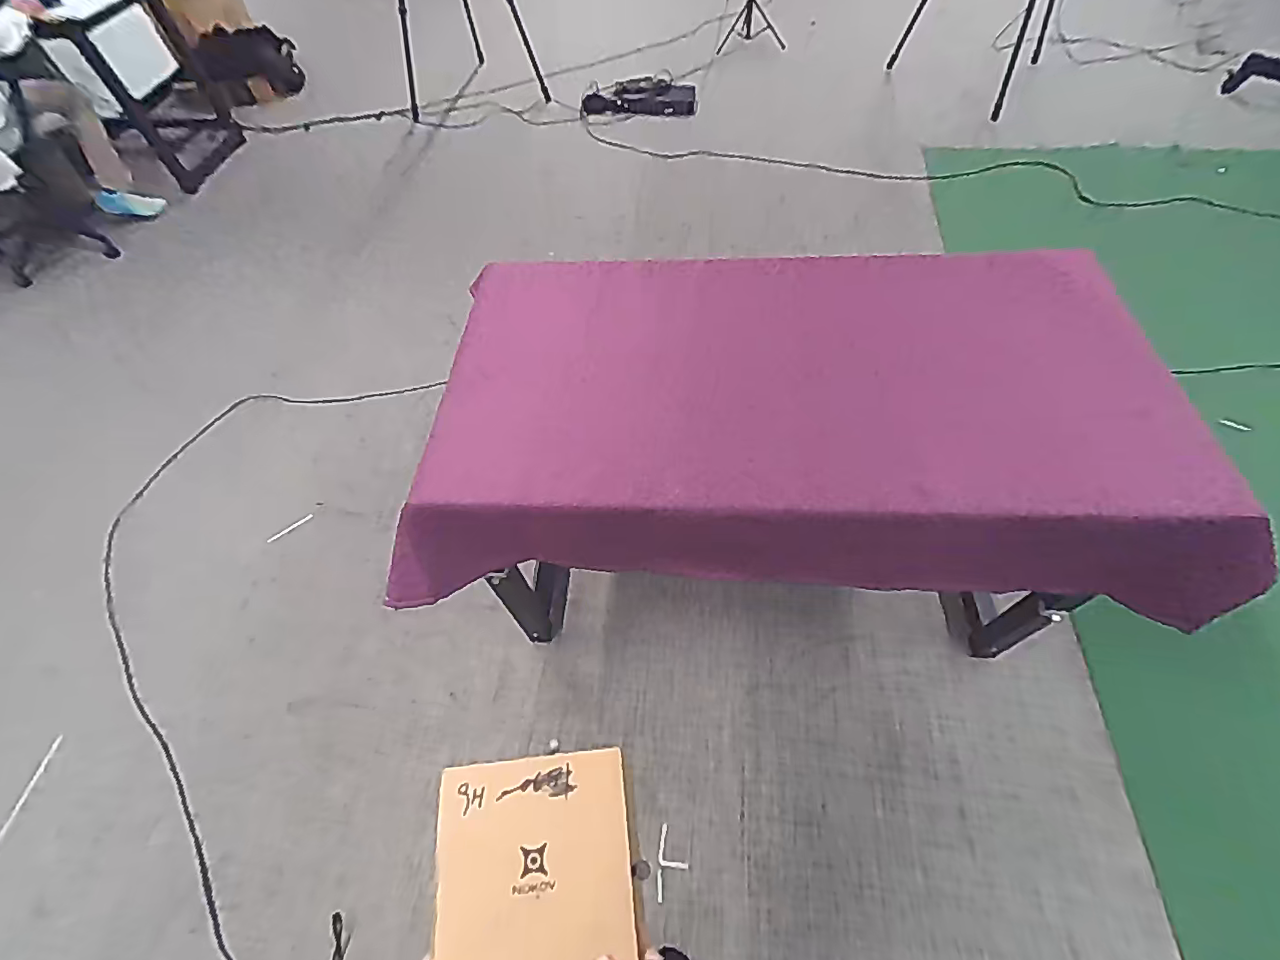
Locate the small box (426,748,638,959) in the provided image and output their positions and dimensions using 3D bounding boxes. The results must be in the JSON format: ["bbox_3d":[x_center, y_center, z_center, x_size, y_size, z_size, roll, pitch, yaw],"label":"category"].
[{"bbox_3d":[-0.093,0.369,0.535,0.168,0.176,0.179,-6,62,0],"label":"small box"}]
